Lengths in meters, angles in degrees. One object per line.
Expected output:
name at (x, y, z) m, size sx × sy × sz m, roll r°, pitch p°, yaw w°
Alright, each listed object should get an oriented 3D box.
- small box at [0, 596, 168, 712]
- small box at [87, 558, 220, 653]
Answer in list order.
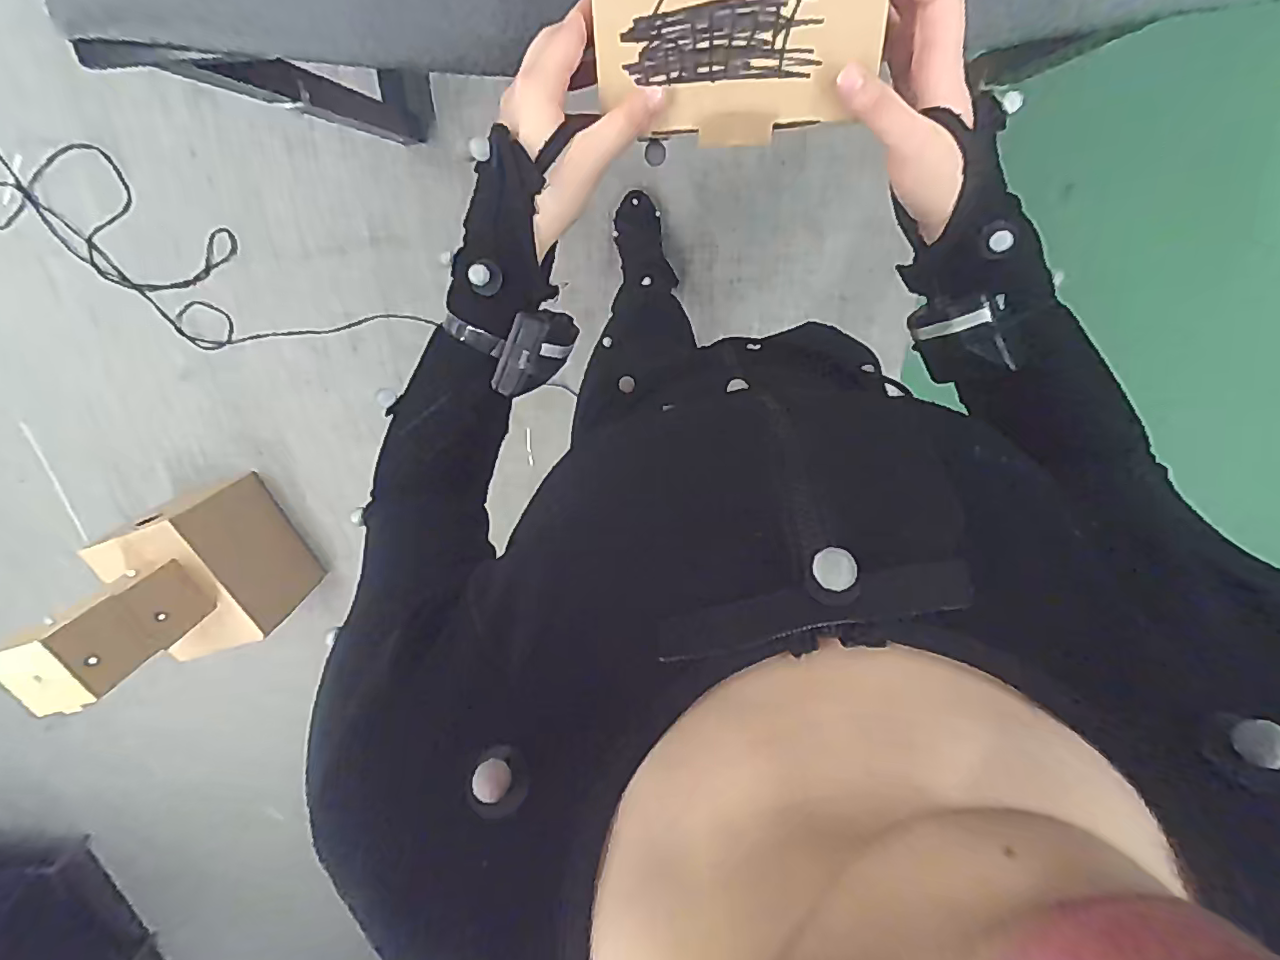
small box at (-1.249, 0.384, 1.225) m, size 0.168 × 0.176 × 0.179 m, roll -16°, pitch 113°, yaw 10°
small box at (-1.236, 0.328, 1.378) m, size 0.168 × 0.176 × 0.179 m, roll -17°, pitch 112°, yaw 10°
